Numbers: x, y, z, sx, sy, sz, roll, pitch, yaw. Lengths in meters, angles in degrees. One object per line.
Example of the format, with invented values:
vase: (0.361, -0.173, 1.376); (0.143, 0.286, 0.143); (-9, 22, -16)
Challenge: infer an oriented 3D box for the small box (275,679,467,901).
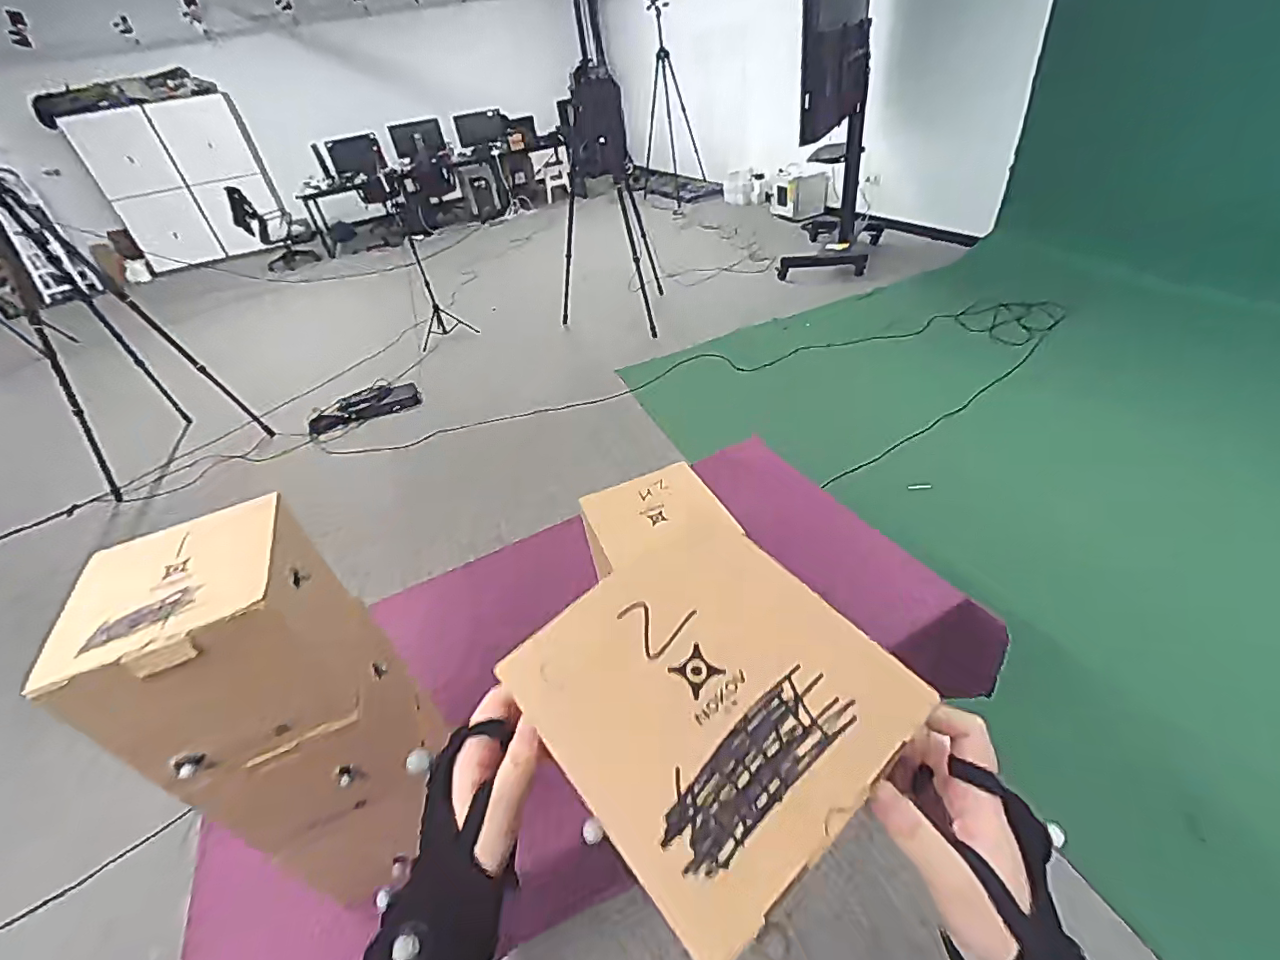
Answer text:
small box: (-0.345, 0.410, 0.723); (0.179, 0.176, 0.168); (-22, 39, -15)

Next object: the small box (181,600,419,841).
small box: (-0.370, 0.280, 0.627); (0.168, 0.176, 0.179); (-20, 38, -13)

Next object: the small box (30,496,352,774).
small box: (-0.402, 0.152, 0.529); (0.168, 0.176, 0.179); (-22, 38, -16)

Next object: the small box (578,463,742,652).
small box: (0.030, 0.110, 0.746); (0.168, 0.176, 0.179); (-20, 38, -12)
